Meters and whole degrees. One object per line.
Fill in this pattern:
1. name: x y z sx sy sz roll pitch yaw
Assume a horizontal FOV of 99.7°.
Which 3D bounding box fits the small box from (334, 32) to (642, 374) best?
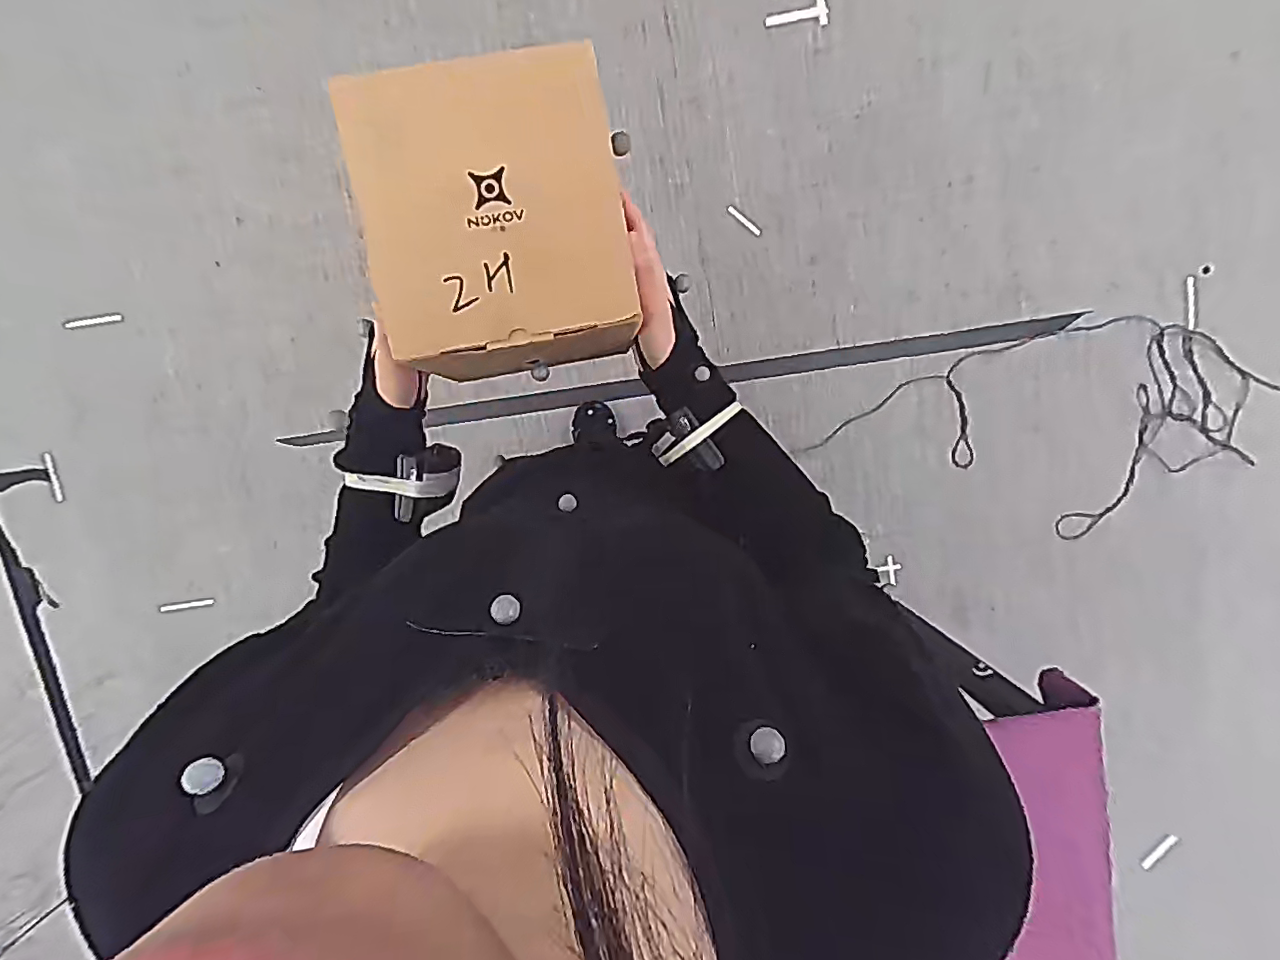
1. small box: -0.099 -0.188 0.419 0.168 0.176 0.179 -11 97 -3
